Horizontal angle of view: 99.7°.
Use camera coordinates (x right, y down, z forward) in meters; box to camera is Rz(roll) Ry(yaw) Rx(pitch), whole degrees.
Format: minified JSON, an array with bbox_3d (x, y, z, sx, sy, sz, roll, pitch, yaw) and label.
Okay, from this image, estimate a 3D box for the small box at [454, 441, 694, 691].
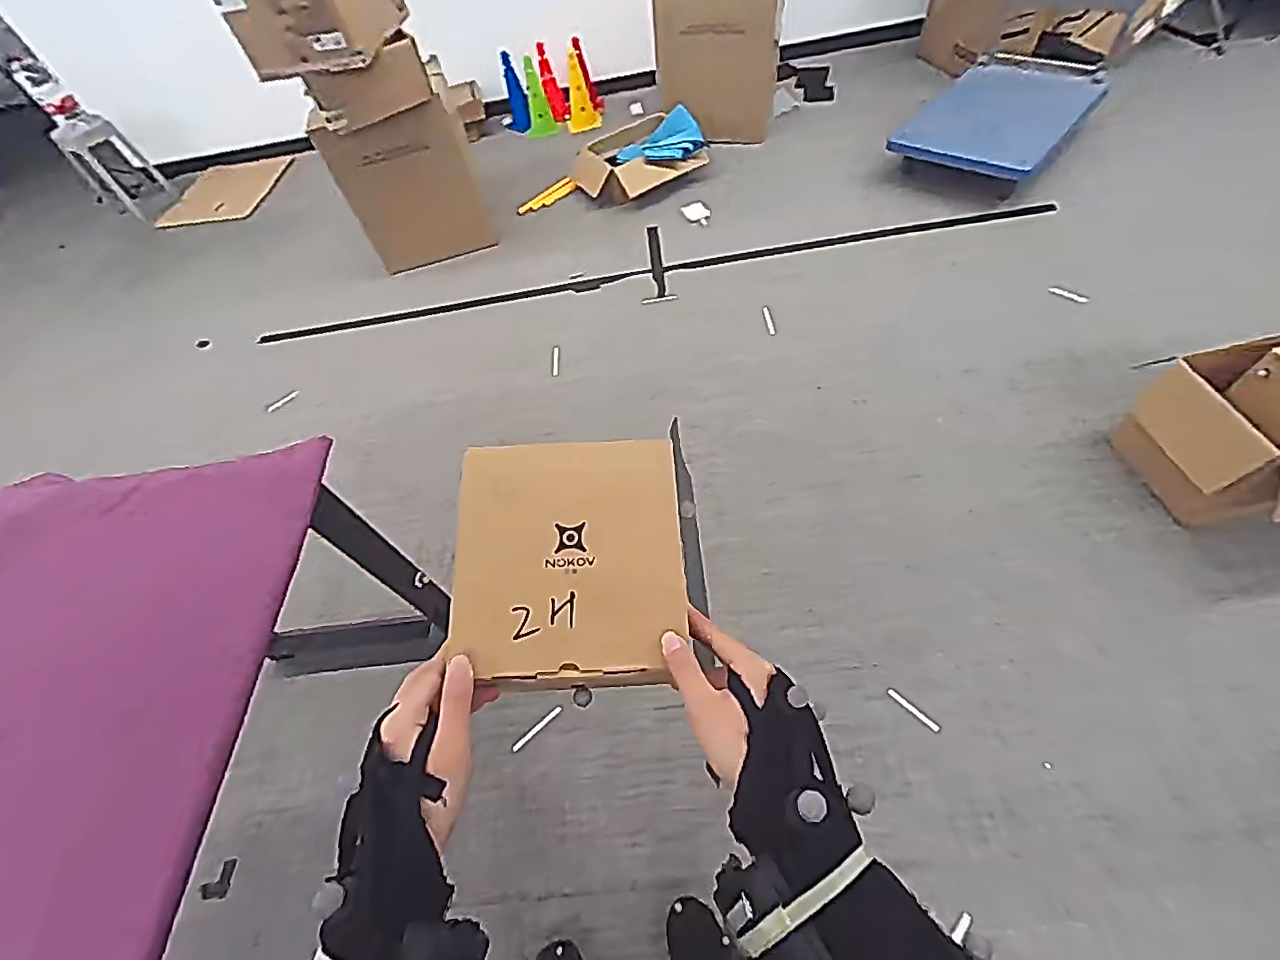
[{"bbox_3d":[-0.048,0.082,0.472,0.168,0.176,0.179,-2,65,-1],"label":"small box"}]
